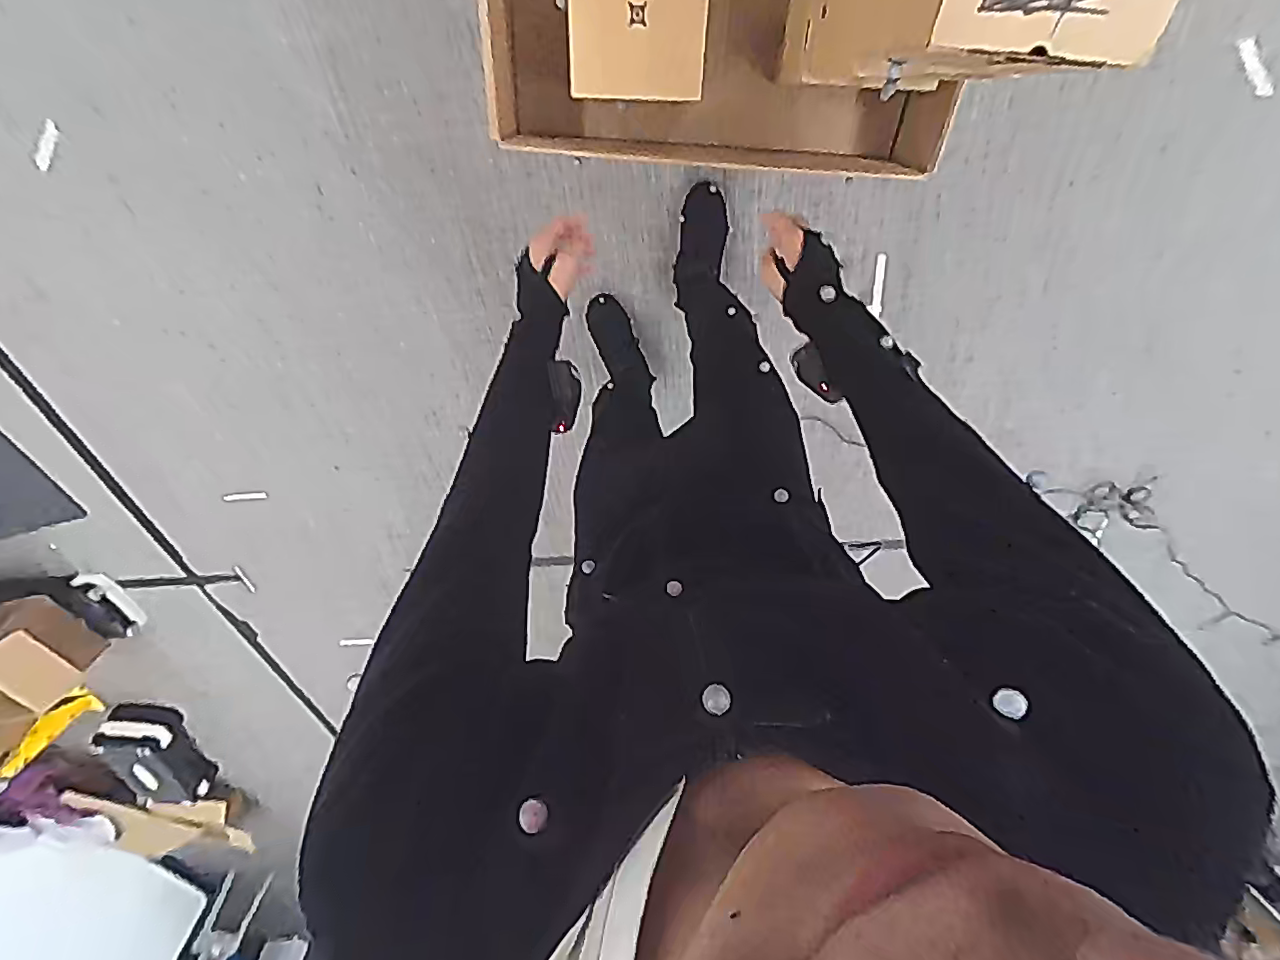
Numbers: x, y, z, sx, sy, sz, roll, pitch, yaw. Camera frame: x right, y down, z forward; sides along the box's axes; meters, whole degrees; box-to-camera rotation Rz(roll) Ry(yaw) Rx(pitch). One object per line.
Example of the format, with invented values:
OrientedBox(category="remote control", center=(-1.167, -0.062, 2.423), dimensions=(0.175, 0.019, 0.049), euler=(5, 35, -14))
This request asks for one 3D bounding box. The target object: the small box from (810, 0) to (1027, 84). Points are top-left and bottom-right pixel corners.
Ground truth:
OrientedBox(category="small box", center=(0.293, -0.506, 0.546), dimensions=(0.179, 0.176, 0.168), euler=(0, 126, -1))

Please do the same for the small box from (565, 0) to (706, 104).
OrientedBox(category="small box", center=(-0.004, -0.593, 0.691), dimensions=(0.168, 0.176, 0.179), euler=(1, 126, -1))

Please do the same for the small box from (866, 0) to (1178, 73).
OrientedBox(category="small box", center=(0.292, -0.420, 0.404), dimensions=(0.168, 0.176, 0.179), euler=(4, 126, -3))
